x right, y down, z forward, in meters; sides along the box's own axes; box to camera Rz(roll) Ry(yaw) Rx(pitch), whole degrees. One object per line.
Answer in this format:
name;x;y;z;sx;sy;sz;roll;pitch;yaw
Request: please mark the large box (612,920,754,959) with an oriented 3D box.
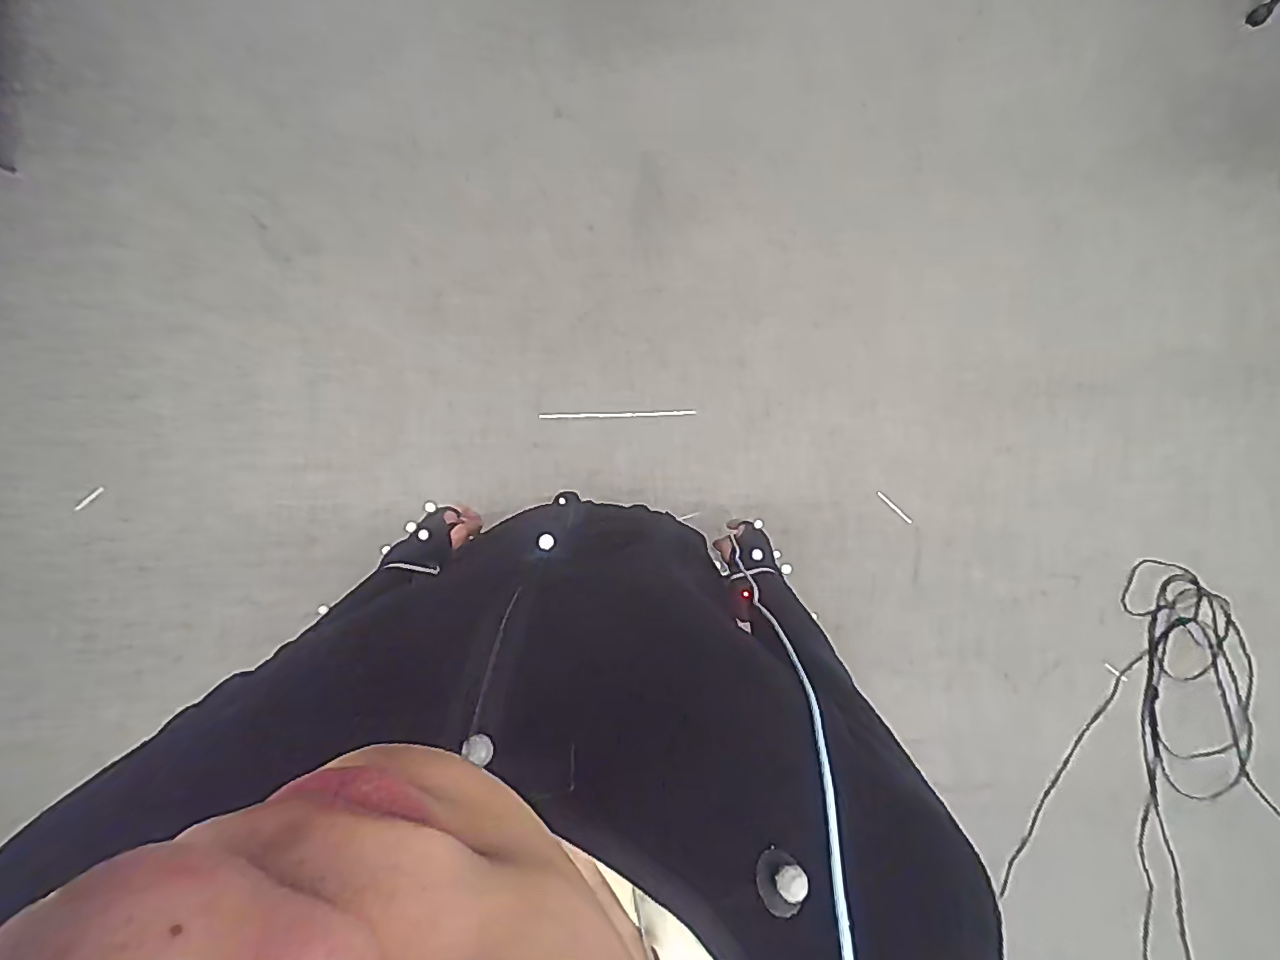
large box;0.131;1.489;1.479;0.408;0.320;0.320;-3;88;-2
